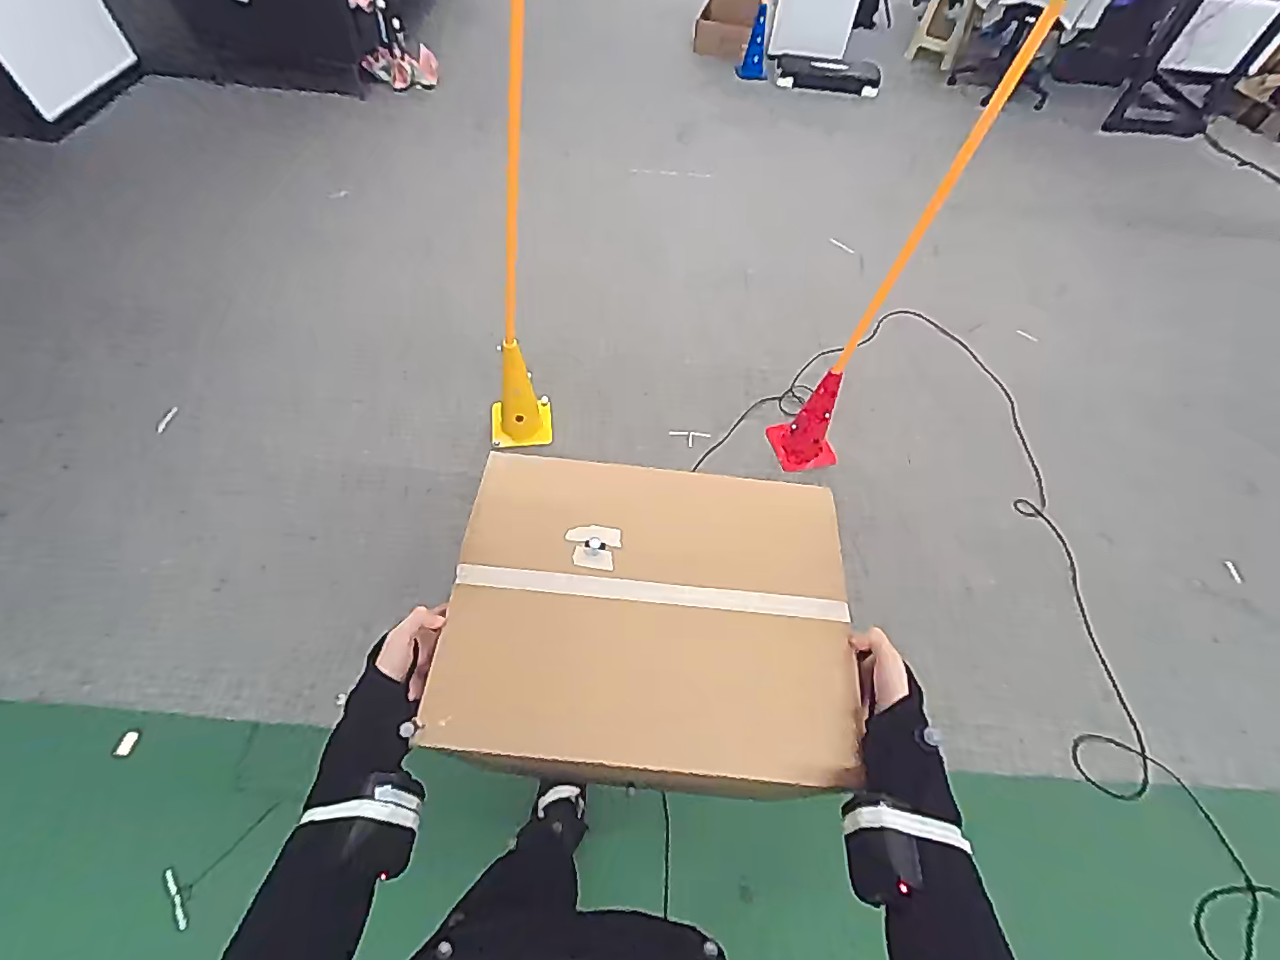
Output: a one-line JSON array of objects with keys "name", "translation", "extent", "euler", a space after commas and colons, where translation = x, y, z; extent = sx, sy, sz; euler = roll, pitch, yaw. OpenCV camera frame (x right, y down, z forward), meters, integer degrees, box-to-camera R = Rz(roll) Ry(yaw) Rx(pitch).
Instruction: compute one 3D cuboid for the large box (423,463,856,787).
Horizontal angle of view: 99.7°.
[{"name": "large box", "translation": [0.005, 0.201, 0.693], "extent": [0.408, 0.320, 0.320], "euler": [6, 57, 0]}]
